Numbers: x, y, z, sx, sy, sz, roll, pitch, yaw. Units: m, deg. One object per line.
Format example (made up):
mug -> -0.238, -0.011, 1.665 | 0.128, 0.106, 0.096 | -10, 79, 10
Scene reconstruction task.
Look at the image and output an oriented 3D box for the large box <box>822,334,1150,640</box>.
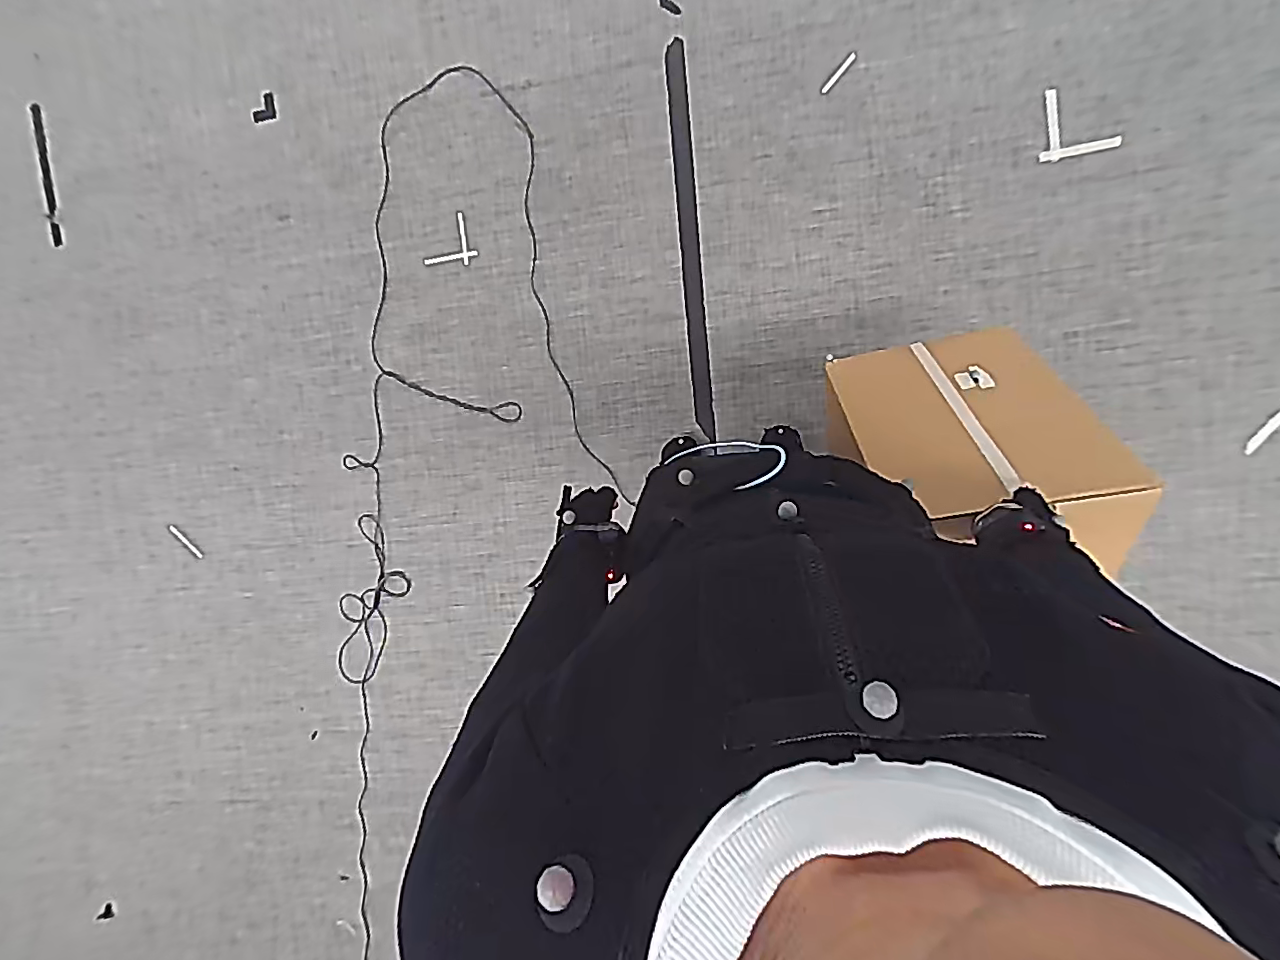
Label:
large box -> 0.524, 0.007, 0.932 | 0.320, 0.408, 0.320 | -9, 131, 9
